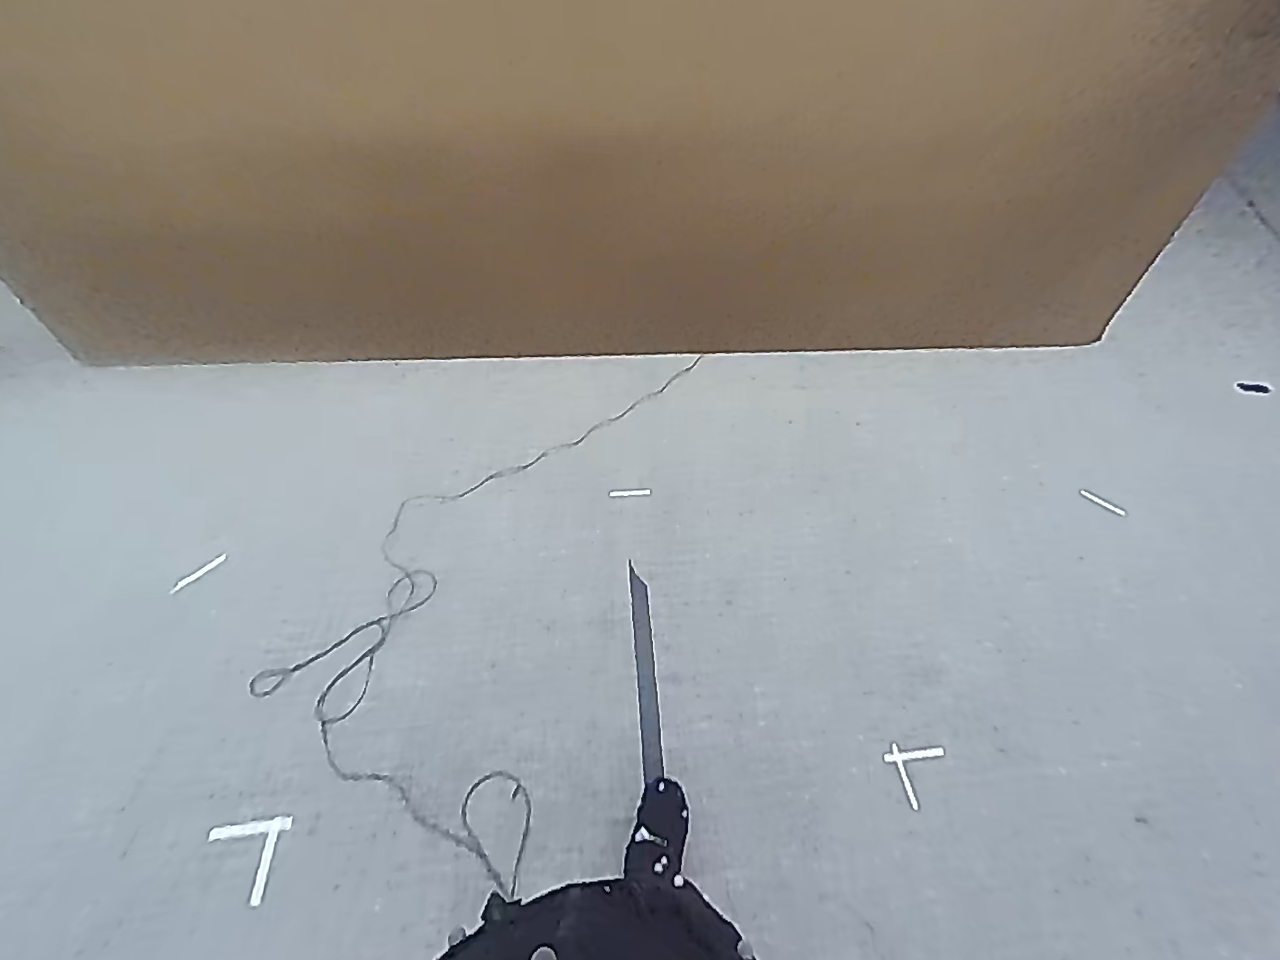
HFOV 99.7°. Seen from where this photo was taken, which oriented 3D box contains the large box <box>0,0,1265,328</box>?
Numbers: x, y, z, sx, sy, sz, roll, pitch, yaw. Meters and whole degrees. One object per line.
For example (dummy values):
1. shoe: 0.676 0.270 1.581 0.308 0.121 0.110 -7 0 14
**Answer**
1. large box: -0.018 -0.275 0.216 0.408 0.320 0.320 -1 49 -2
